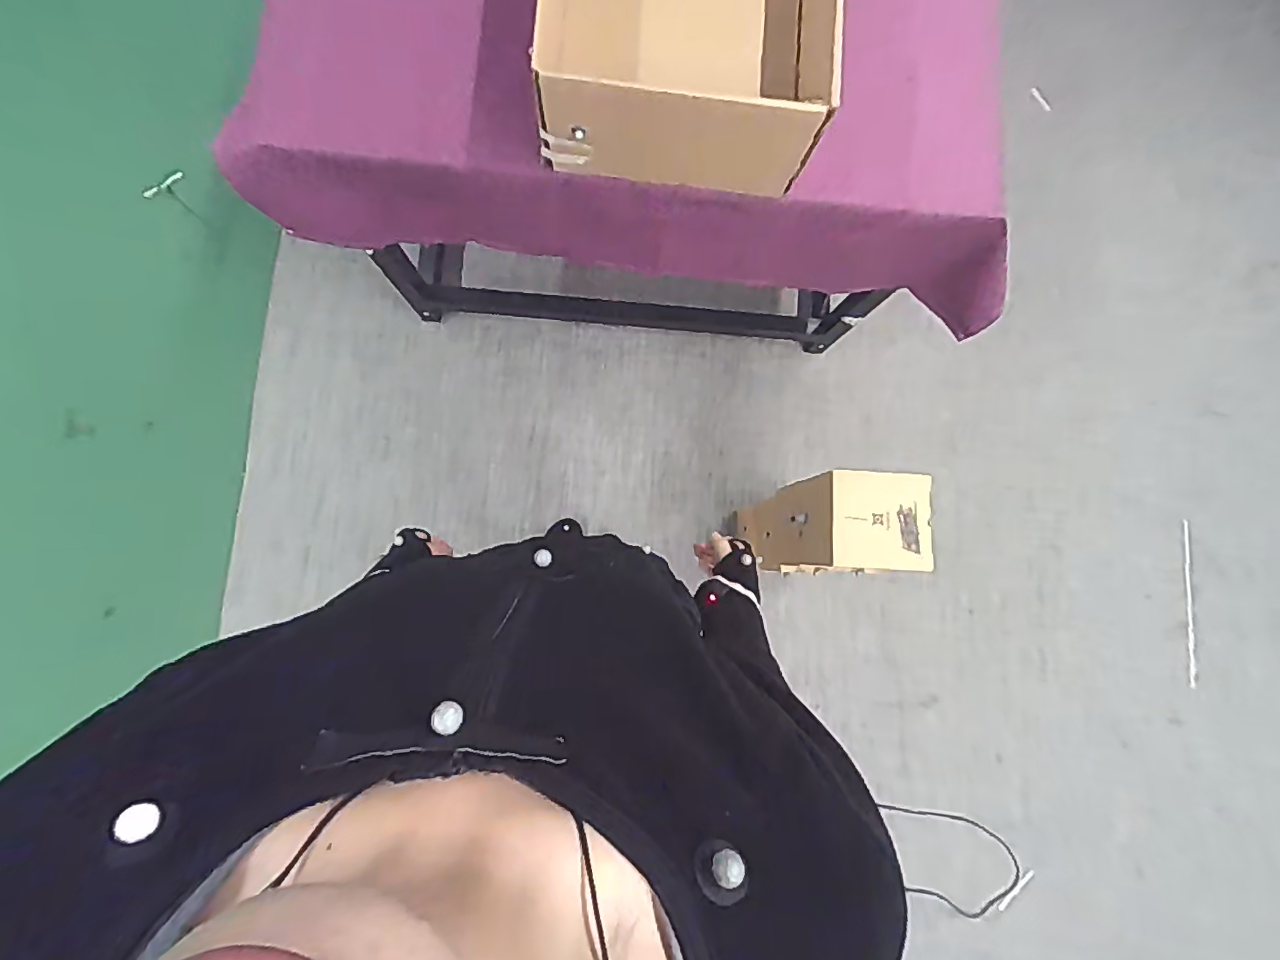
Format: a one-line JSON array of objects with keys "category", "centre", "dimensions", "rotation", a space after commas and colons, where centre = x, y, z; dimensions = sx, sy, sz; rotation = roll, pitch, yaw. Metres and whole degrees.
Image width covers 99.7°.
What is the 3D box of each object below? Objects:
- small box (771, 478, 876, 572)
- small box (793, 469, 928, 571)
[{"category": "small box", "centre": [0.386, 0.100, 1.154], "dimensions": [0.168, 0.176, 0.179], "rotation": [5, 82, -3]}, {"category": "small box", "centre": [0.397, 0.077, 0.991], "dimensions": [0.179, 0.176, 0.168], "rotation": [4, 82, -3]}]
